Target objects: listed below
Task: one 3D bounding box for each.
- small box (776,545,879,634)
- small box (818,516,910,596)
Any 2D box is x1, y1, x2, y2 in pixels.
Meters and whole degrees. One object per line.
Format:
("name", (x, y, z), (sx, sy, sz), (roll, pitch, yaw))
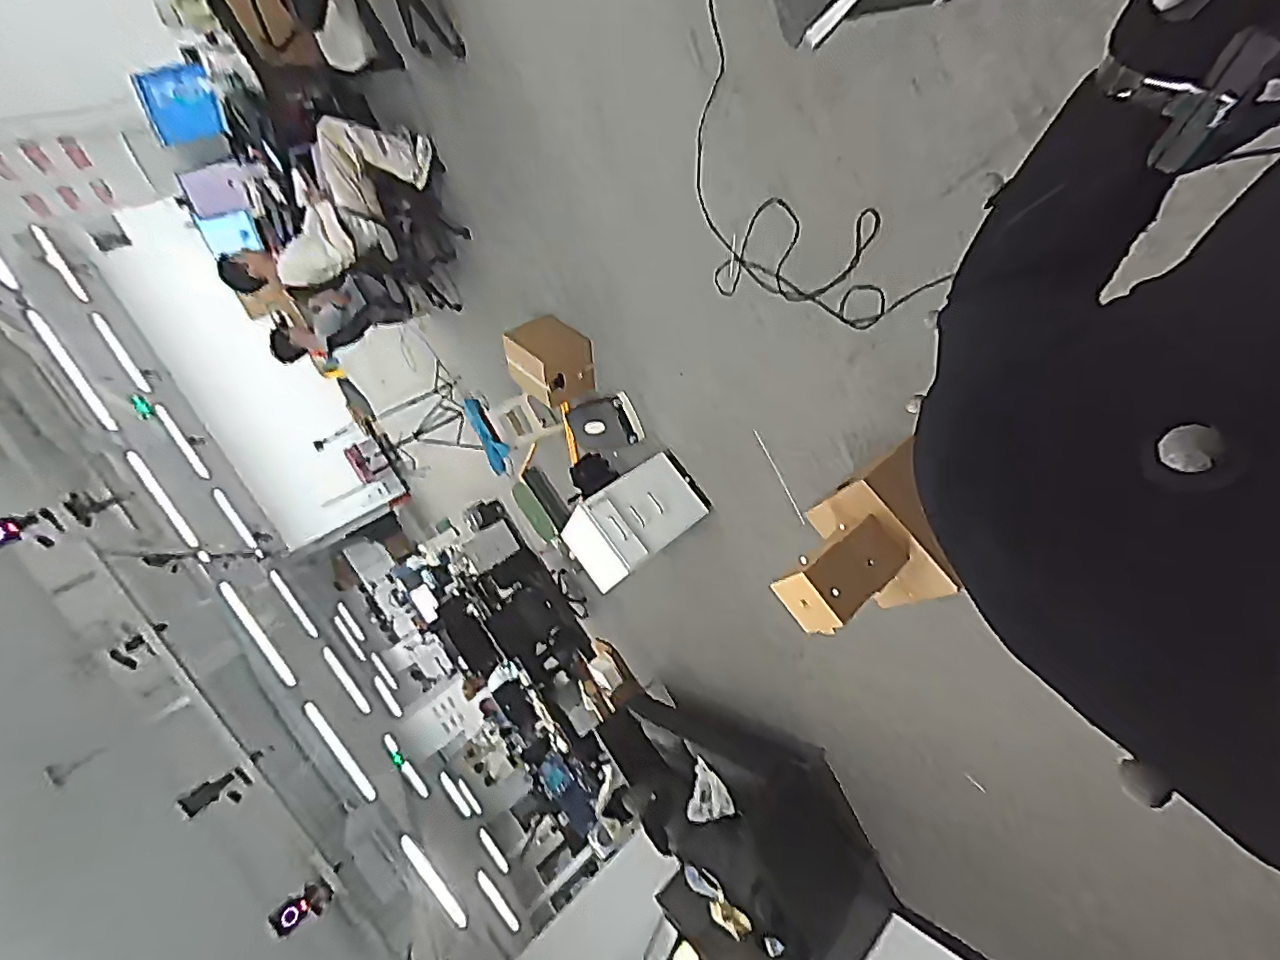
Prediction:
("small box", (0.530, 0.304, 1.530), (0.179, 0.176, 0.168), (52, 151, 7))
("small box", (0.658, 0.236, 1.605), (0.179, 0.176, 0.168), (53, 152, 8))
